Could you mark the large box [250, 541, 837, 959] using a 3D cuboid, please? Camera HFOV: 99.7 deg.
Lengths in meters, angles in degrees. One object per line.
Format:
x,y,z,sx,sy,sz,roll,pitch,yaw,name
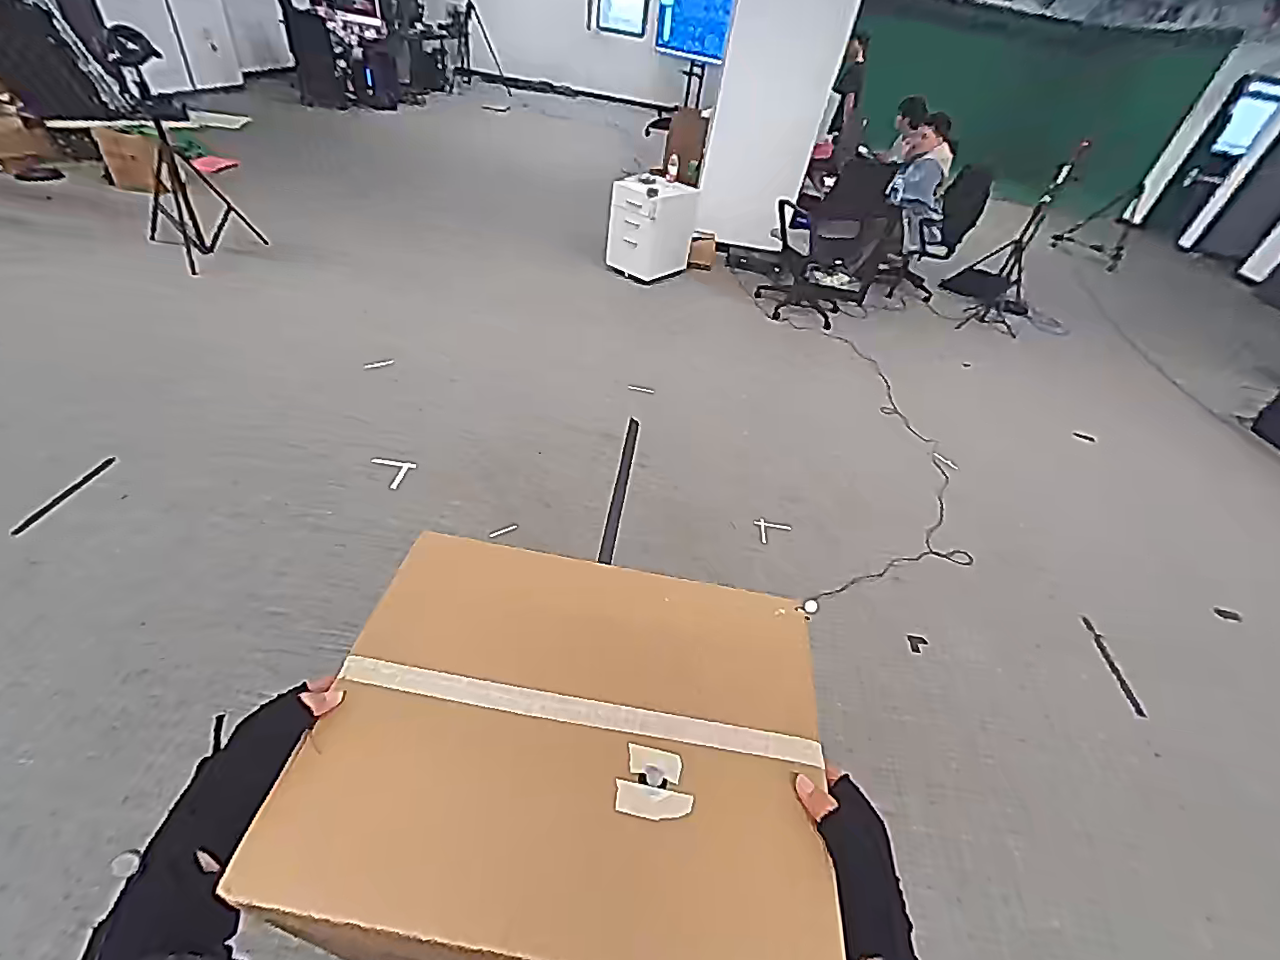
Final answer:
-0.067,0.306,0.564,0.408,0.320,0.320,11,43,0,large box
